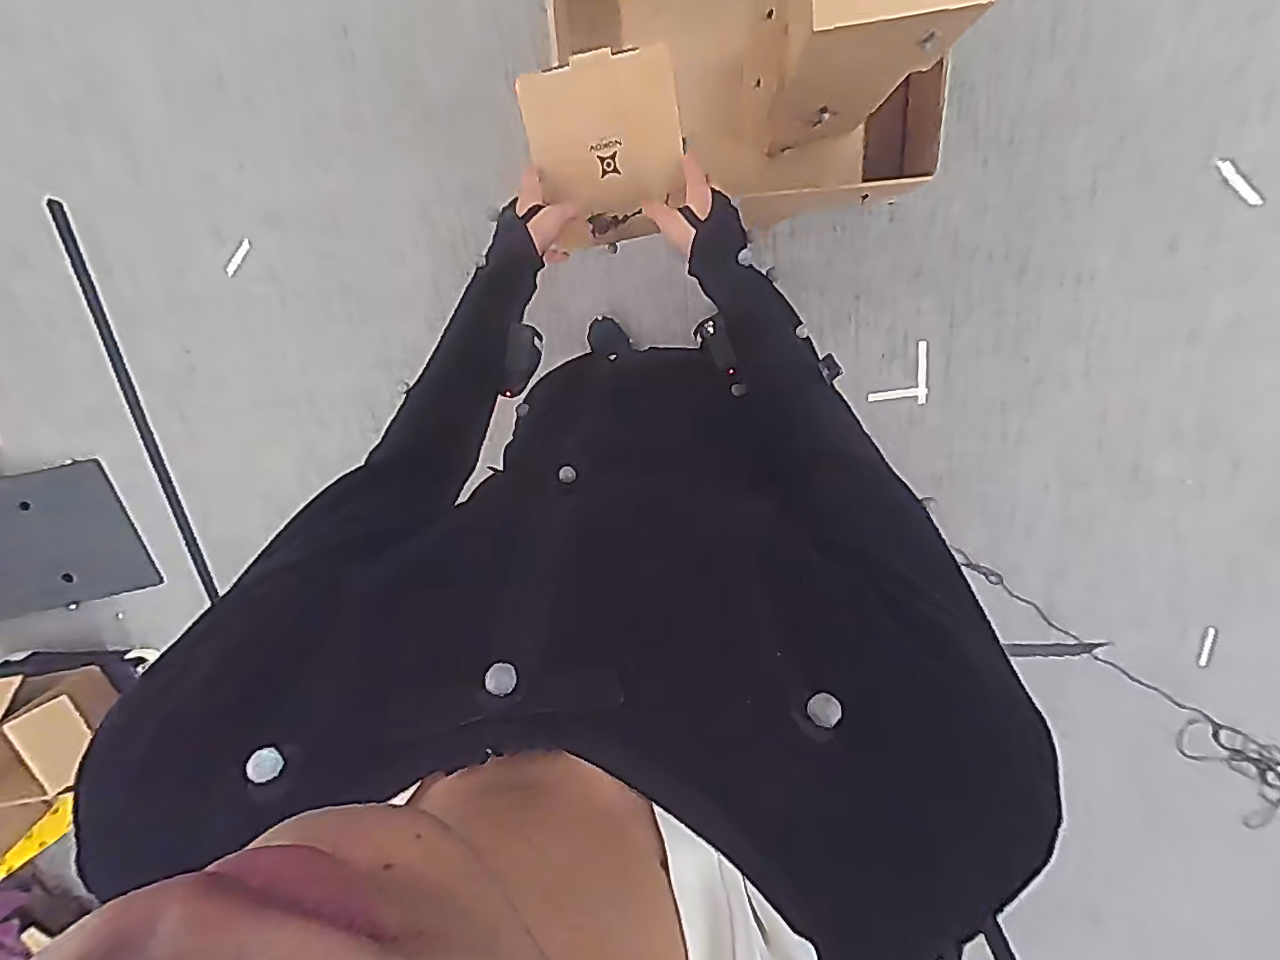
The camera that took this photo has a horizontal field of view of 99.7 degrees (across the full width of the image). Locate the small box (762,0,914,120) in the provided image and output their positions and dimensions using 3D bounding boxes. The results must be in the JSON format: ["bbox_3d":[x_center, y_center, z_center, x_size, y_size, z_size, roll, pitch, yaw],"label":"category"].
[{"bbox_3d":[0.256,-0.619,0.729,0.168,0.176,0.179,-3,110,8],"label":"small box"}]

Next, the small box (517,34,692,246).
[{"bbox_3d":[-0.031,-0.399,0.658,0.168,0.176,0.179,-7,119,9],"label":"small box"}]
